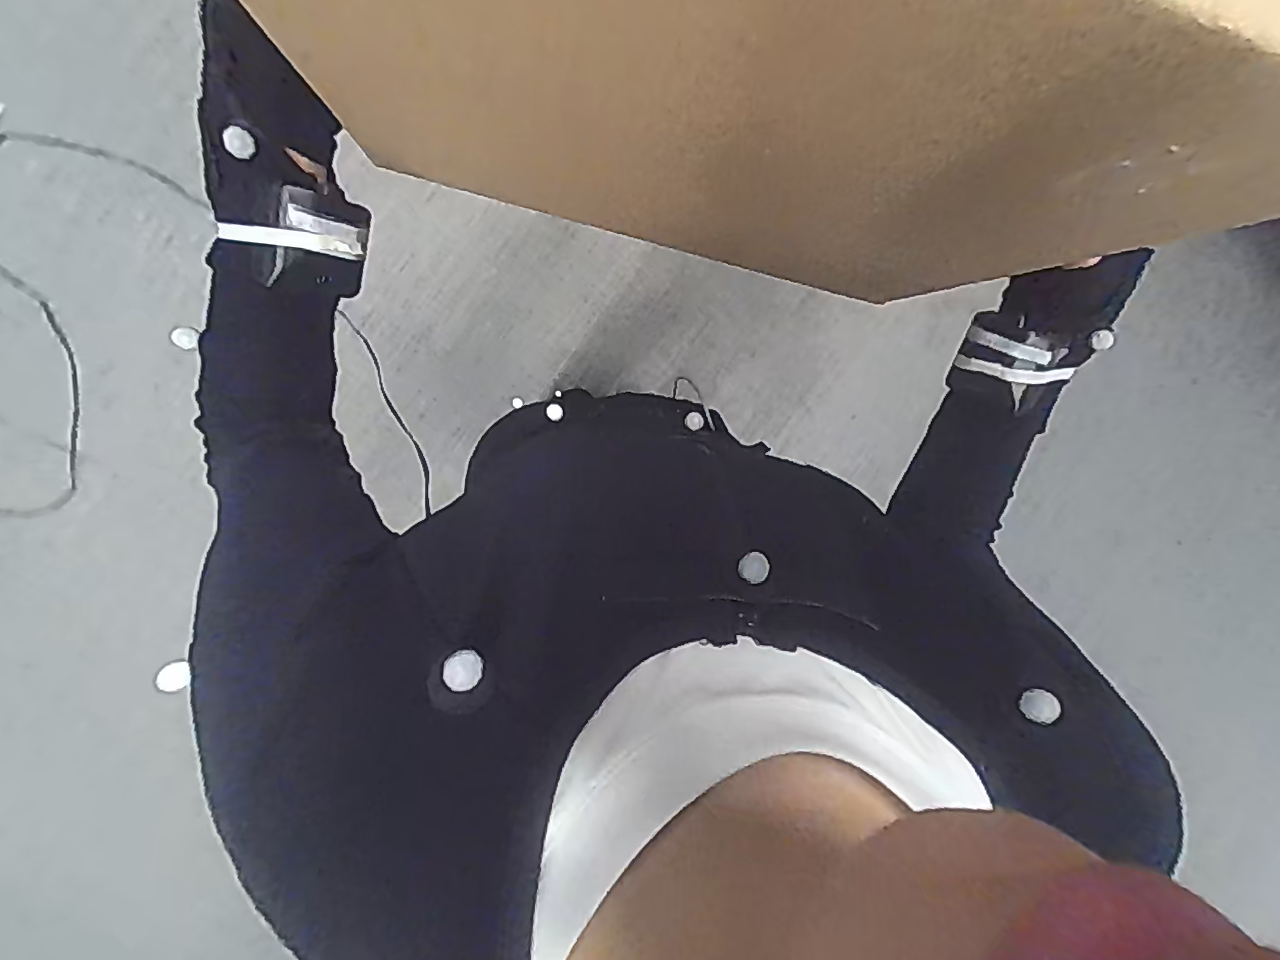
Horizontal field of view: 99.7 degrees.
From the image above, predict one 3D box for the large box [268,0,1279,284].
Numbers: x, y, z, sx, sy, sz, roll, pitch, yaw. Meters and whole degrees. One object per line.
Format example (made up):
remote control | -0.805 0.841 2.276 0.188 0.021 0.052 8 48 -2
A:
large box | 0.063 -0.310 0.245 0.408 0.320 0.320 9 100 -12
